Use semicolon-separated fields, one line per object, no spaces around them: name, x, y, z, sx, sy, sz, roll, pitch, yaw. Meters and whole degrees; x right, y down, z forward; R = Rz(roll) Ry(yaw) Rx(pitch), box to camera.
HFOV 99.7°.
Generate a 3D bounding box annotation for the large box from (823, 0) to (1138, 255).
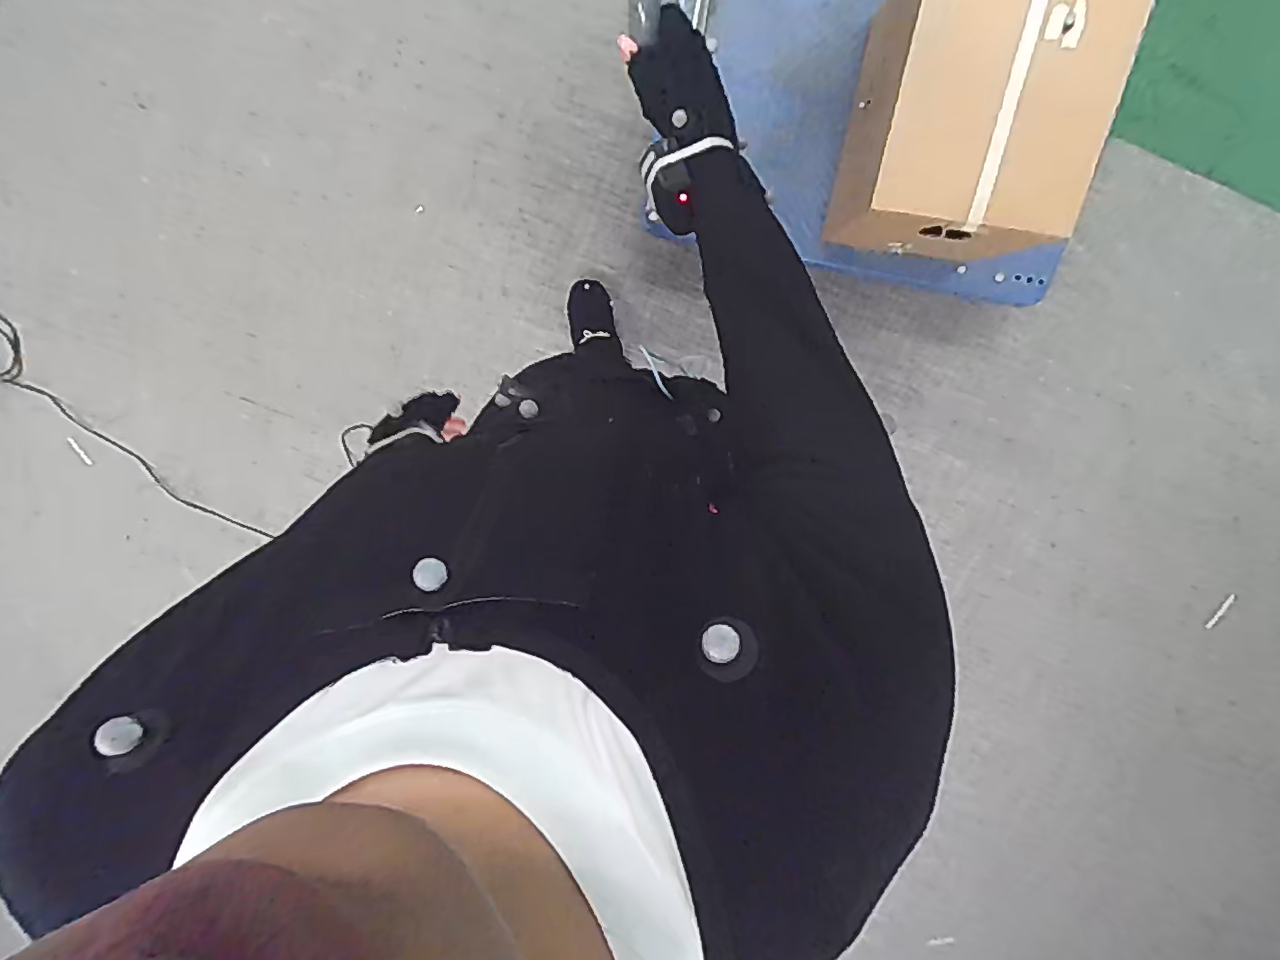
large box;0.544;-0.638;0.934;0.320;0.320;0.408;10;105;0
